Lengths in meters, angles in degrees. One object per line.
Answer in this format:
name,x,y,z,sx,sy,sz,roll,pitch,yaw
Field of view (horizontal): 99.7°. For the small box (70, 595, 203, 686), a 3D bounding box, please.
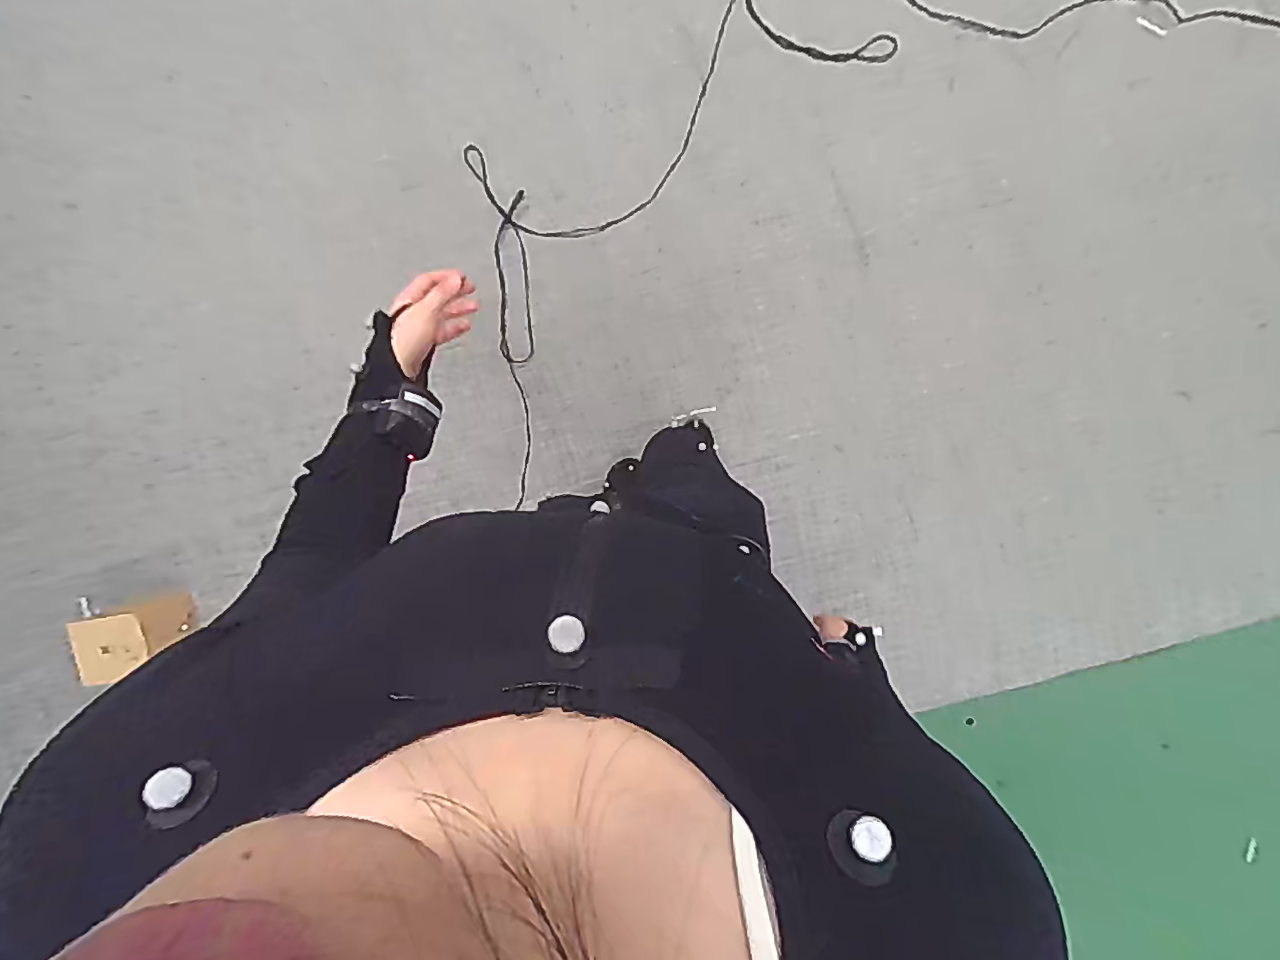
small box,-1.304,0.413,1.413,0.179,0.176,0.168,-9,96,0
